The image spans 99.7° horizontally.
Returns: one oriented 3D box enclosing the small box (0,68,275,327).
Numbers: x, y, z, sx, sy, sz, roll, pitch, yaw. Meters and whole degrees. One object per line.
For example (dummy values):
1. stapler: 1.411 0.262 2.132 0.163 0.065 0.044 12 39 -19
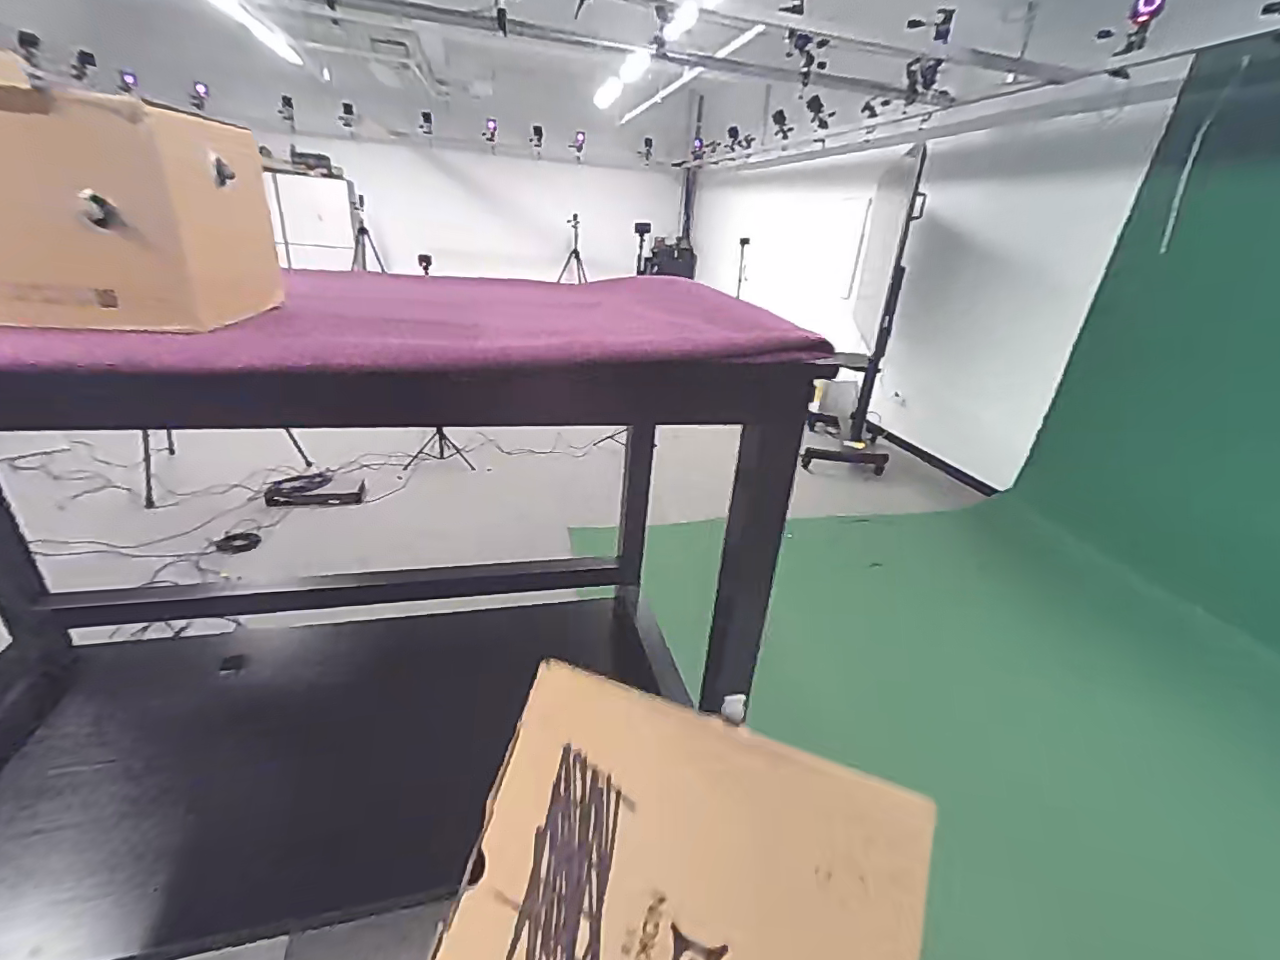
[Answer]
1. small box: -0.444 -0.231 0.461 0.168 0.176 0.179 0 25 -12
